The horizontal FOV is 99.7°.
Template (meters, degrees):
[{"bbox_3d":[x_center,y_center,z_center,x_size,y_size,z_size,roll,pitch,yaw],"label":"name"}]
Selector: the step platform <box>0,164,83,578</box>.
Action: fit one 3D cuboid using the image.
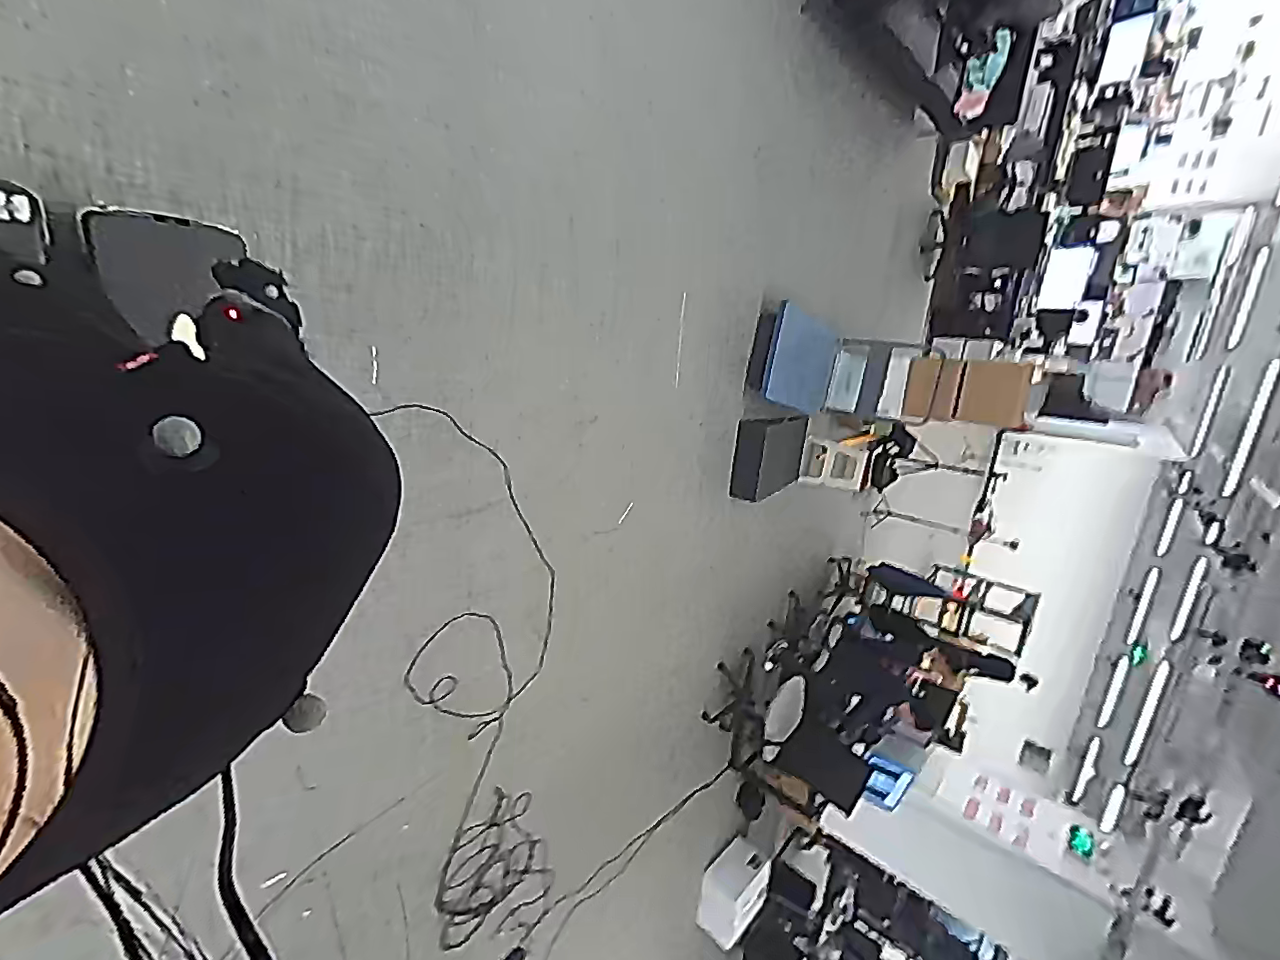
[{"bbox_3d":[-1.140,-0.176,0.851,0.286,0.204,0.684,-12,114,-49],"label":"step platform"}]
